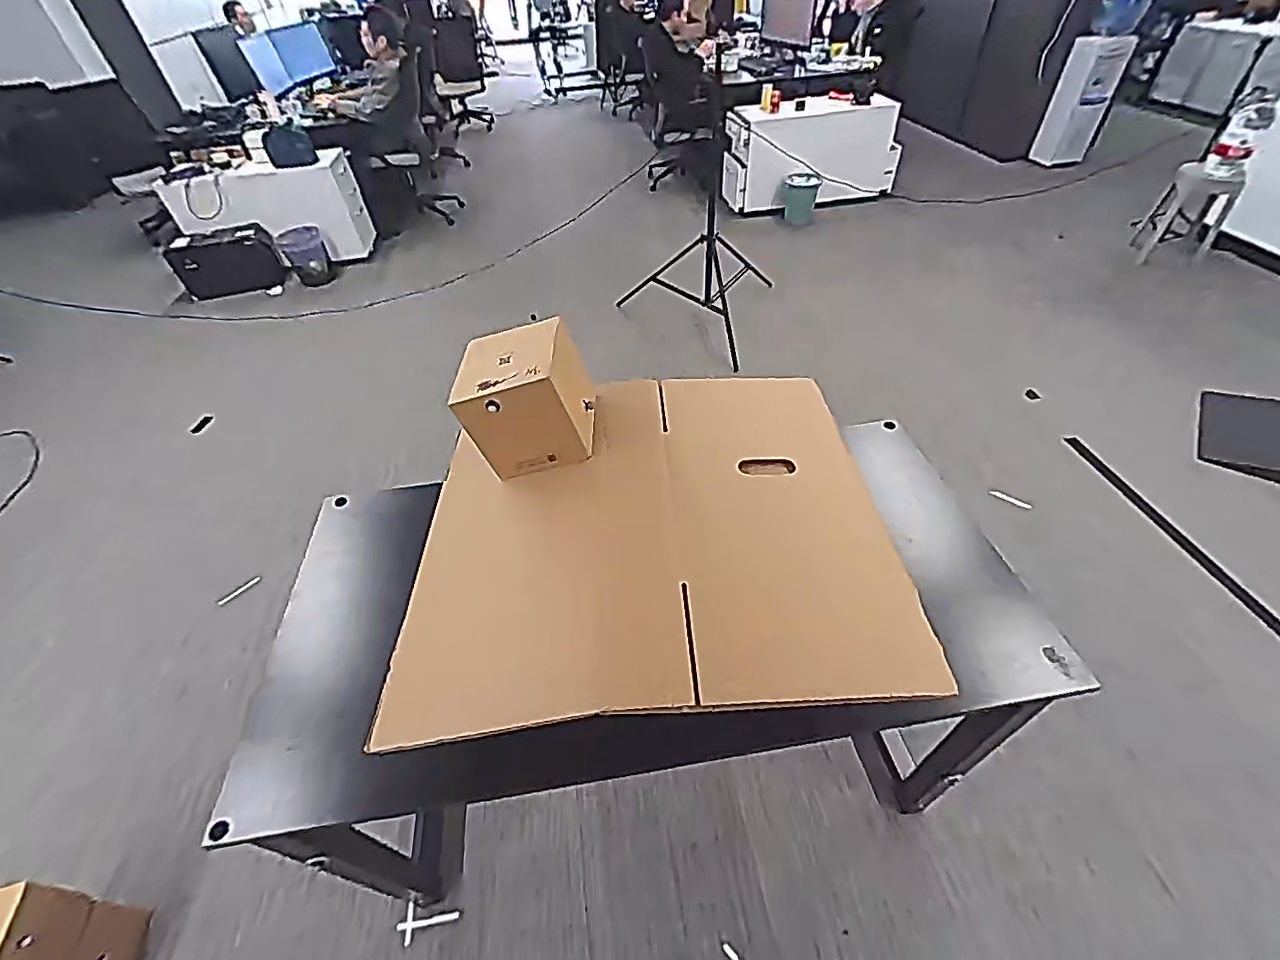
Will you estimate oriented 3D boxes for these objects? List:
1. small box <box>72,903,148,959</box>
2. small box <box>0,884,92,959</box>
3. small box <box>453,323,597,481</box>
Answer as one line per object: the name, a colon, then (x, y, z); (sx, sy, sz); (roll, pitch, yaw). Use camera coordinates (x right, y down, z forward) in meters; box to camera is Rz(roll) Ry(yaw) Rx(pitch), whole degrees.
small box: (-1.172, 1.004, 1.105); (0.168, 0.176, 0.179); (-11, 46, -6)
small box: (-1.184, 0.886, 0.994); (0.168, 0.176, 0.179); (-13, 44, -9)
small box: (-0.177, -0.126, 0.896); (0.168, 0.176, 0.179); (-14, 43, 12)
